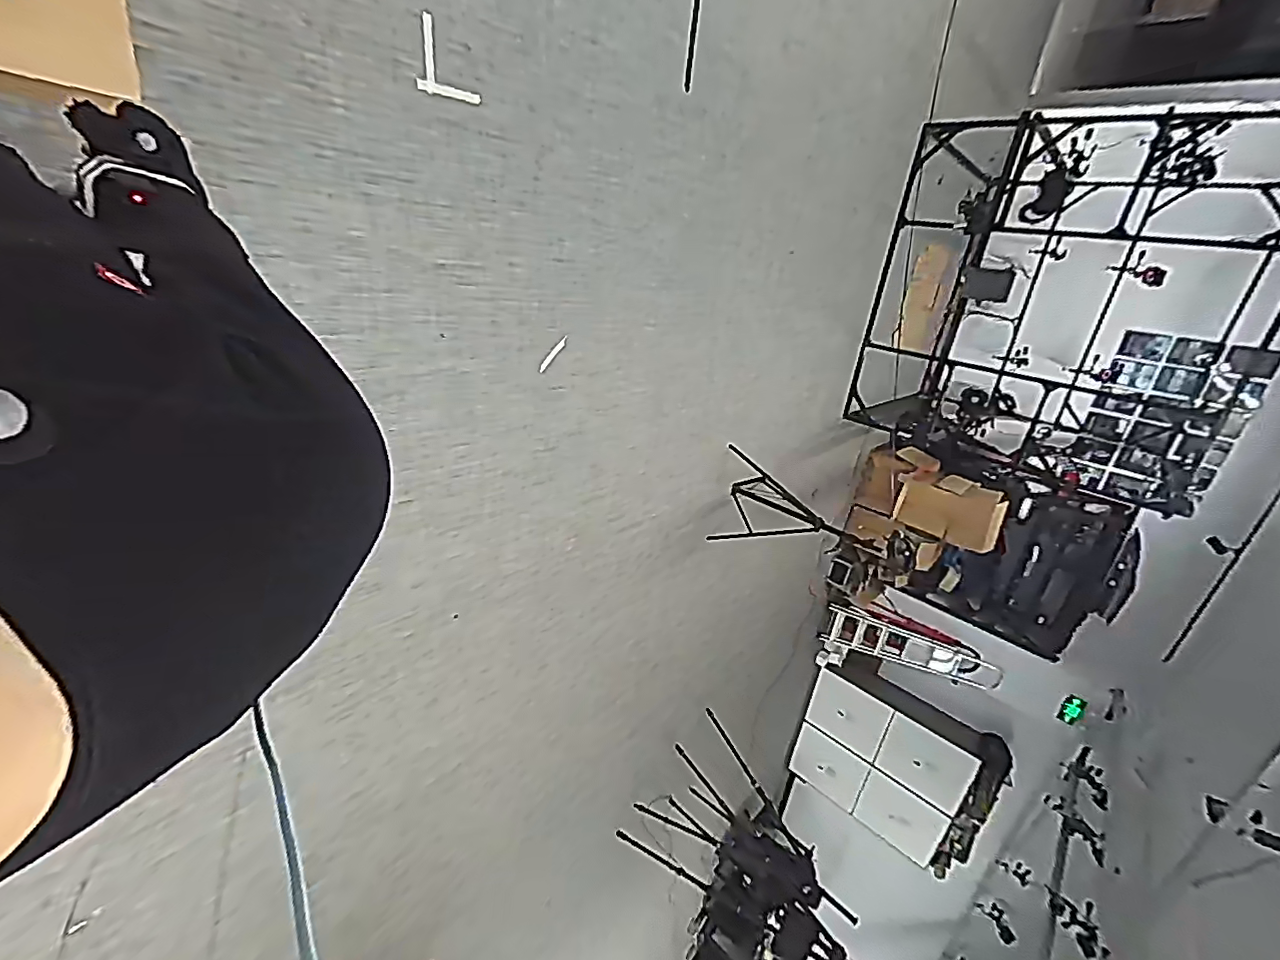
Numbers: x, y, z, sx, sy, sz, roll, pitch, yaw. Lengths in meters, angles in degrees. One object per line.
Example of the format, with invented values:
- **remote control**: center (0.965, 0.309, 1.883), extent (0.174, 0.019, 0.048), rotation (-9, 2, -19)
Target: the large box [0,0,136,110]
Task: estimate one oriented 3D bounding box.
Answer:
- **large box**: center (-0.980, -0.718, 0.697), extent (0.408, 0.320, 0.320), rotation (-18, 123, -47)
